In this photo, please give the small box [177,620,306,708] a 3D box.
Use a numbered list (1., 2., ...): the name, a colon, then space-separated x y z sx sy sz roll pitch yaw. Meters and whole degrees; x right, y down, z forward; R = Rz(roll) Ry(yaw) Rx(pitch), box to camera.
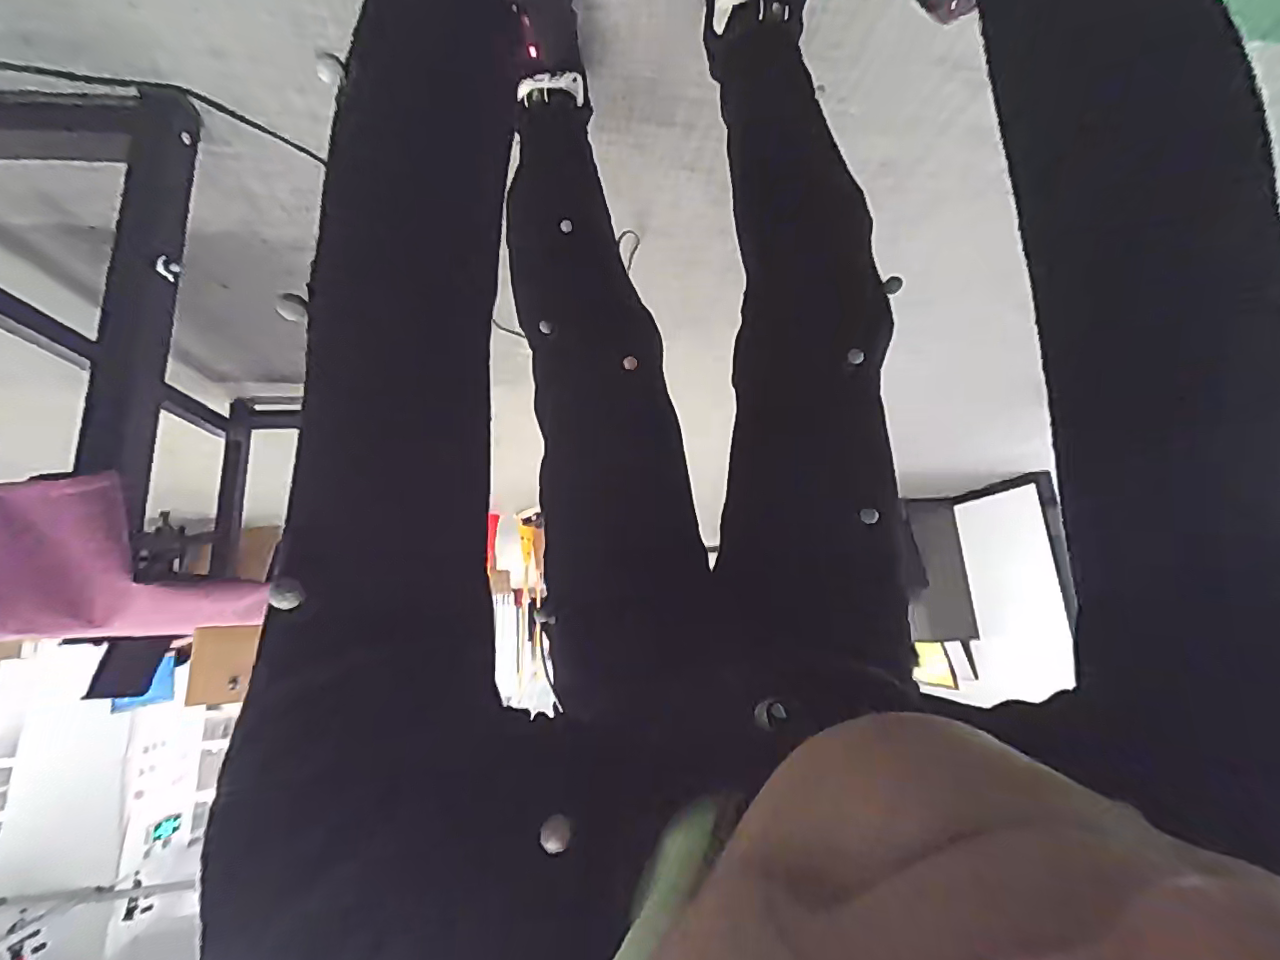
1. small box: -0.890 0.411 1.227 0.179 0.176 0.168 -3 166 -7
